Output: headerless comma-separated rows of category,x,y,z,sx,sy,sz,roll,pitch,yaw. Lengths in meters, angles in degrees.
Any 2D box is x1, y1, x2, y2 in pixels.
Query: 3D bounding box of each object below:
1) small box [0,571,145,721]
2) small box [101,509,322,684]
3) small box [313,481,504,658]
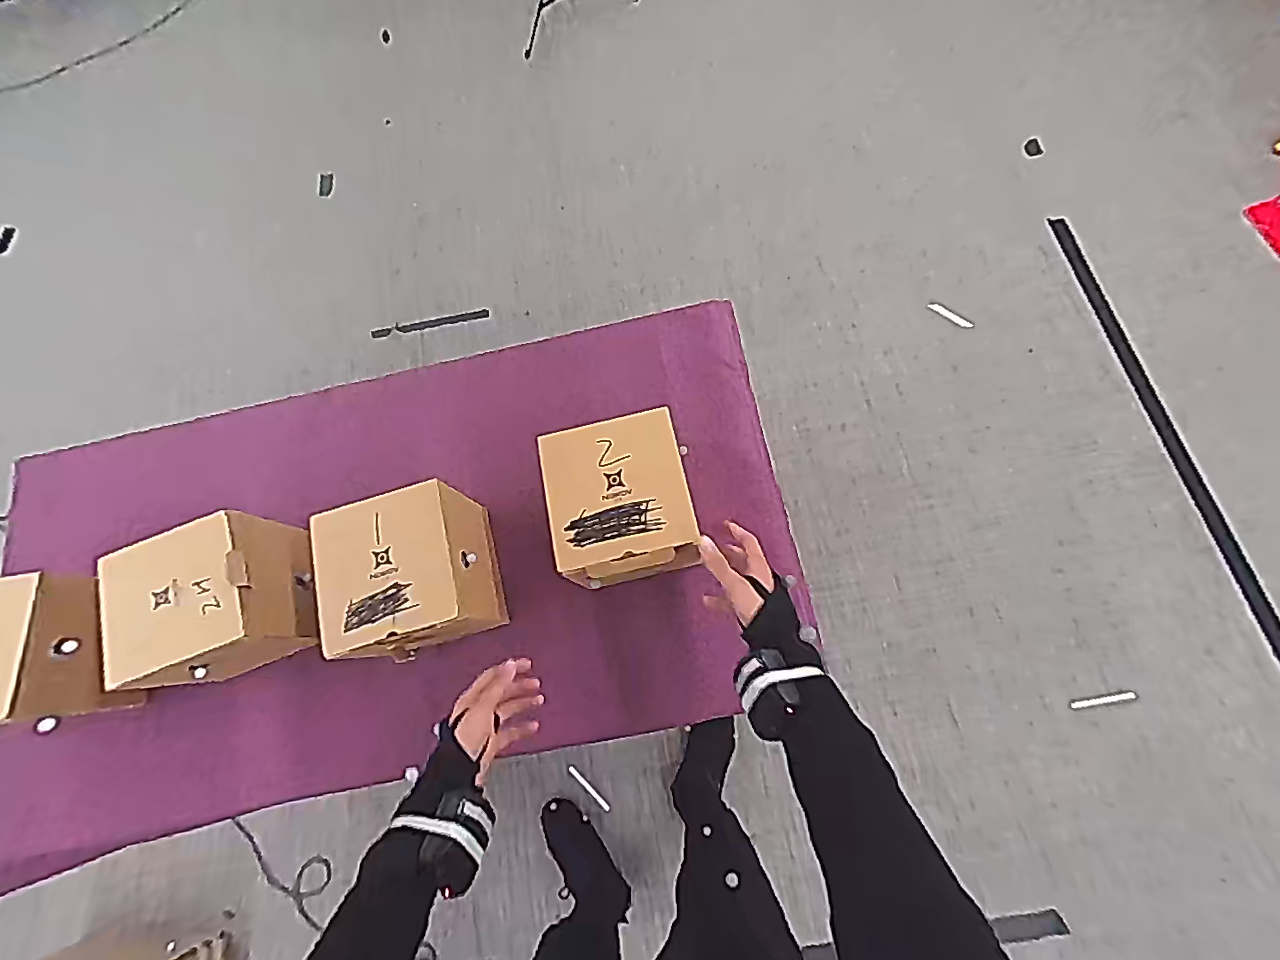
small box,-0.807,0.226,0.730,0.168,0.176,0.179,-7,72,3
small box,-0.555,0.160,0.725,0.179,0.176,0.168,-20,73,-1
small box,-0.293,0.123,0.711,0.168,0.176,0.179,-16,72,1
